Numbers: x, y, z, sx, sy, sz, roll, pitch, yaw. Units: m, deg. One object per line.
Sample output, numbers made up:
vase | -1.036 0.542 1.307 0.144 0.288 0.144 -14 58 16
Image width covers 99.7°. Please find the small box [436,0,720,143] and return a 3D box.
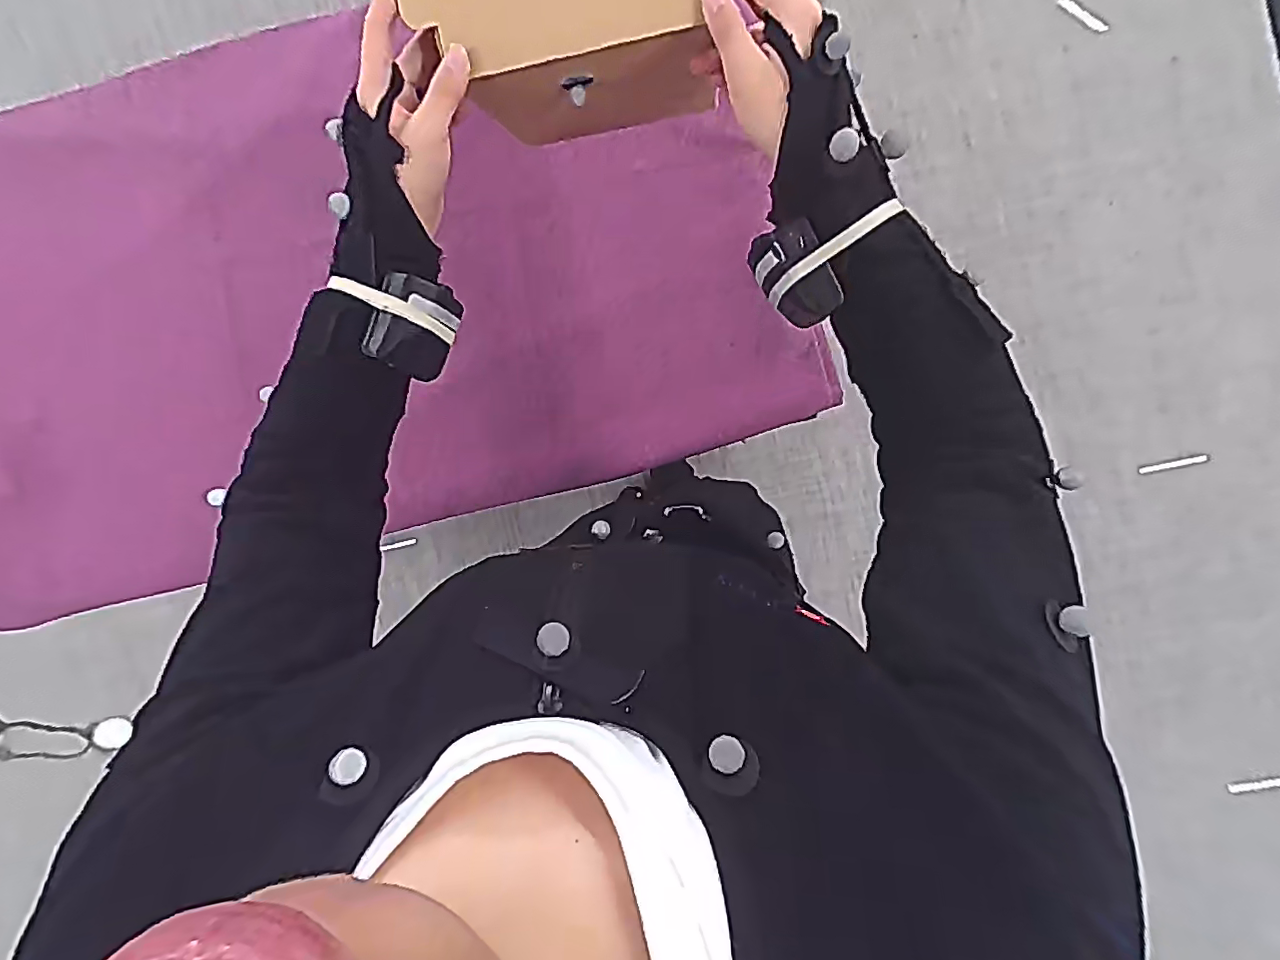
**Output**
small box | -0.038 -0.365 0.386 0.179 0.176 0.168 -6 108 8
